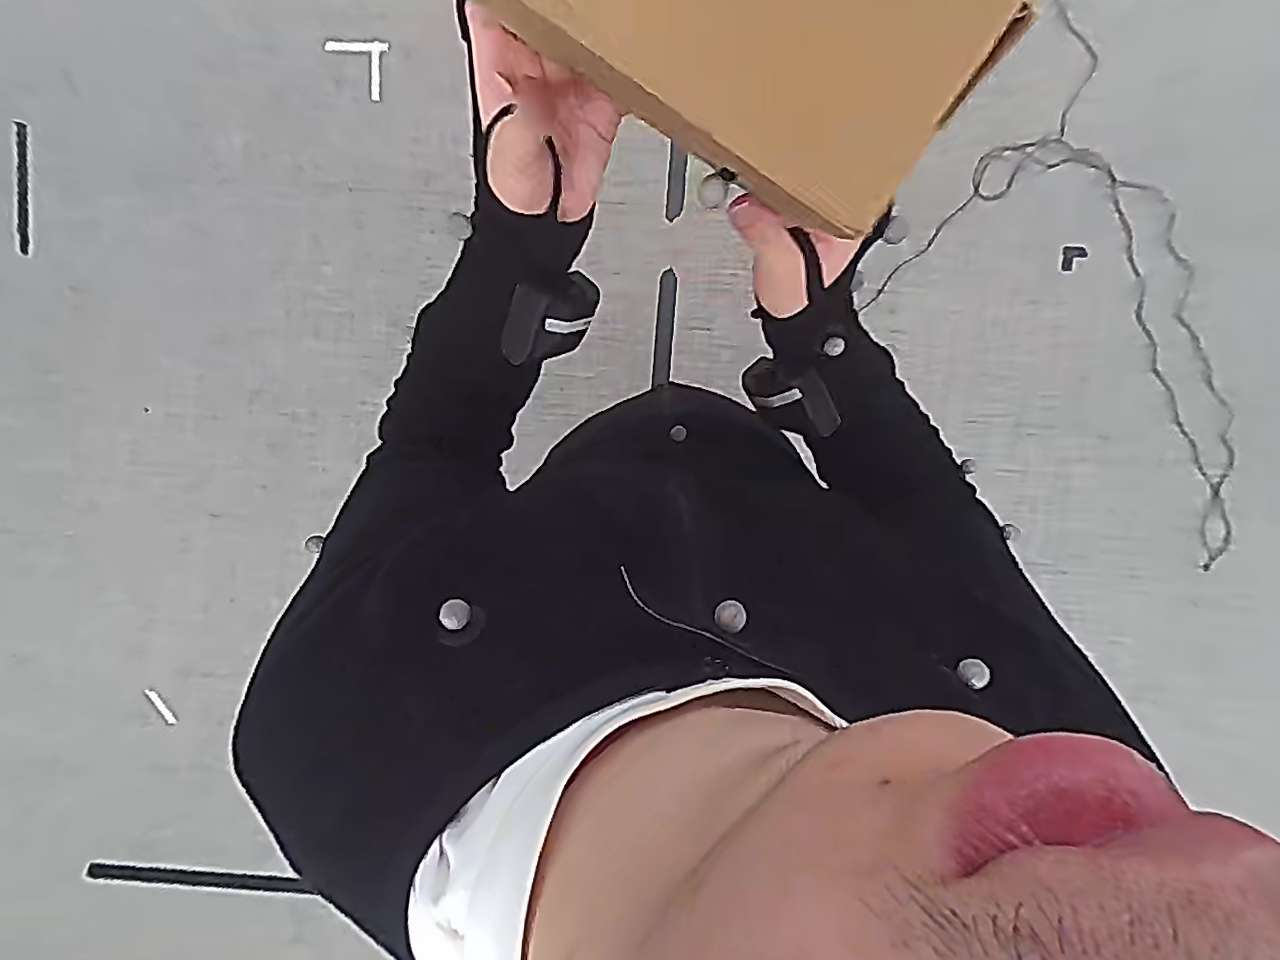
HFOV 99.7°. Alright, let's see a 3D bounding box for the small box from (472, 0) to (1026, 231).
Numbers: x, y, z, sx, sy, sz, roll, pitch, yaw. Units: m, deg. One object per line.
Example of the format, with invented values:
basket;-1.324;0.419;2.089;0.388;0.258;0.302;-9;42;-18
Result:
small box;0.041;-0.215;0.187;0.179;0.176;0.168;28;117;-8
